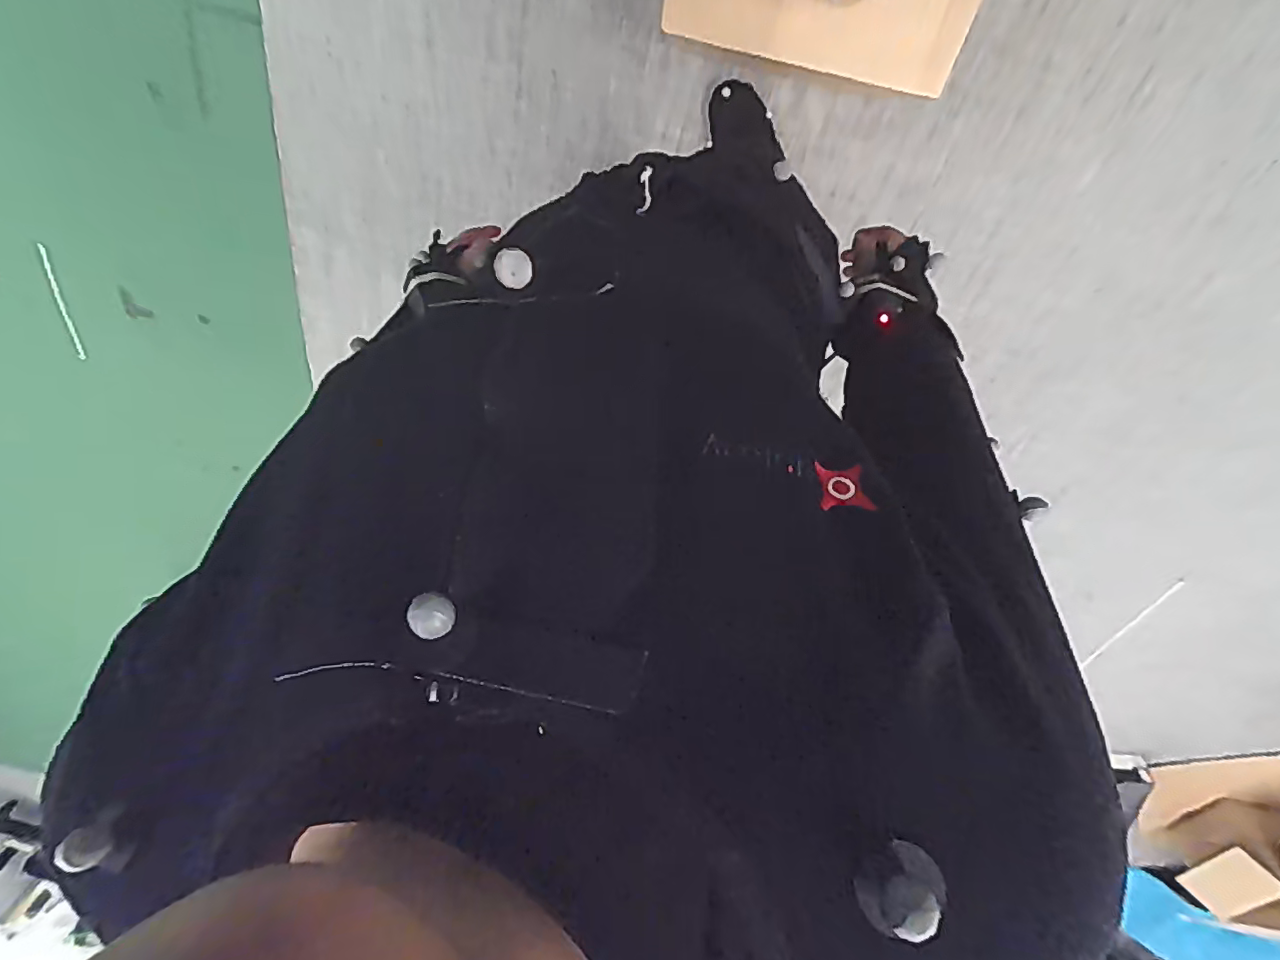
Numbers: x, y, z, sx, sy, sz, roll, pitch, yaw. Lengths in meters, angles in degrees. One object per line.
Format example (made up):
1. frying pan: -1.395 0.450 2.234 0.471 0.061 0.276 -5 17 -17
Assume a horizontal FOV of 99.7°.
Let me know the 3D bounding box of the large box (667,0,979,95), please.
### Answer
1. large box: 0.266 -0.785 0.784 0.408 0.320 0.320 12 126 -2
